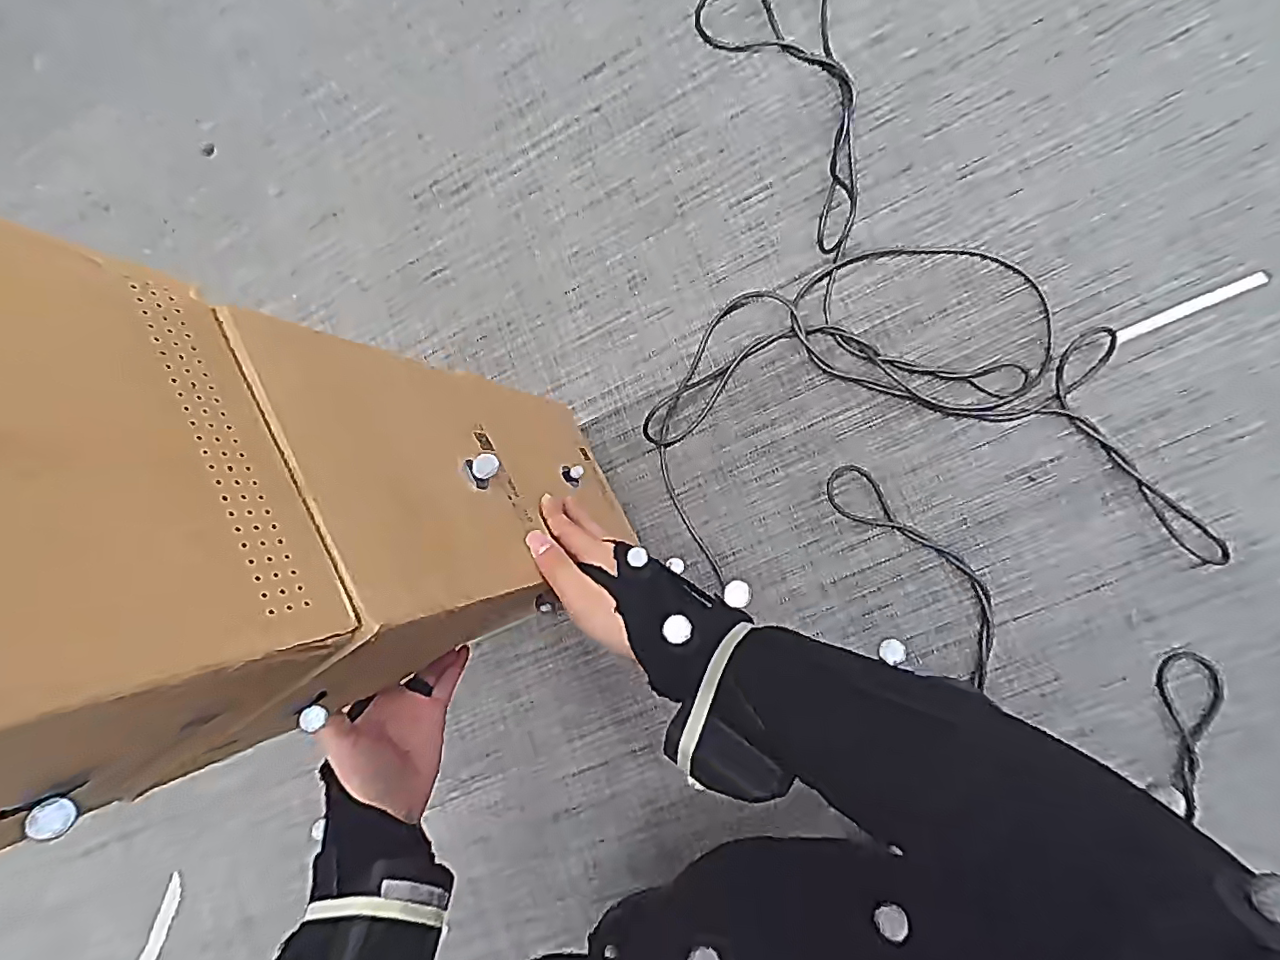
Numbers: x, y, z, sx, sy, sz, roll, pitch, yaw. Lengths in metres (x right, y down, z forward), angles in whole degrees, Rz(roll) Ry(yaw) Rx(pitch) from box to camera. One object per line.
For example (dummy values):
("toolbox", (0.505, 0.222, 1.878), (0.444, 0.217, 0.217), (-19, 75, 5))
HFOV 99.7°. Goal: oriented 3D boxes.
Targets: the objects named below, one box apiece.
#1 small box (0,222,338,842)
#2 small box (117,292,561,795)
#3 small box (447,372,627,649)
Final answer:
("small box", (-0.238, 0.023, 0.162), (0.168, 0.176, 0.179), (-35, 78, 15))
("small box", (-0.179, 0.034, 0.314), (0.179, 0.176, 0.168), (-33, 79, 15))
("small box", (-0.130, 0.034, 0.470), (0.179, 0.176, 0.168), (-31, 79, 16))
